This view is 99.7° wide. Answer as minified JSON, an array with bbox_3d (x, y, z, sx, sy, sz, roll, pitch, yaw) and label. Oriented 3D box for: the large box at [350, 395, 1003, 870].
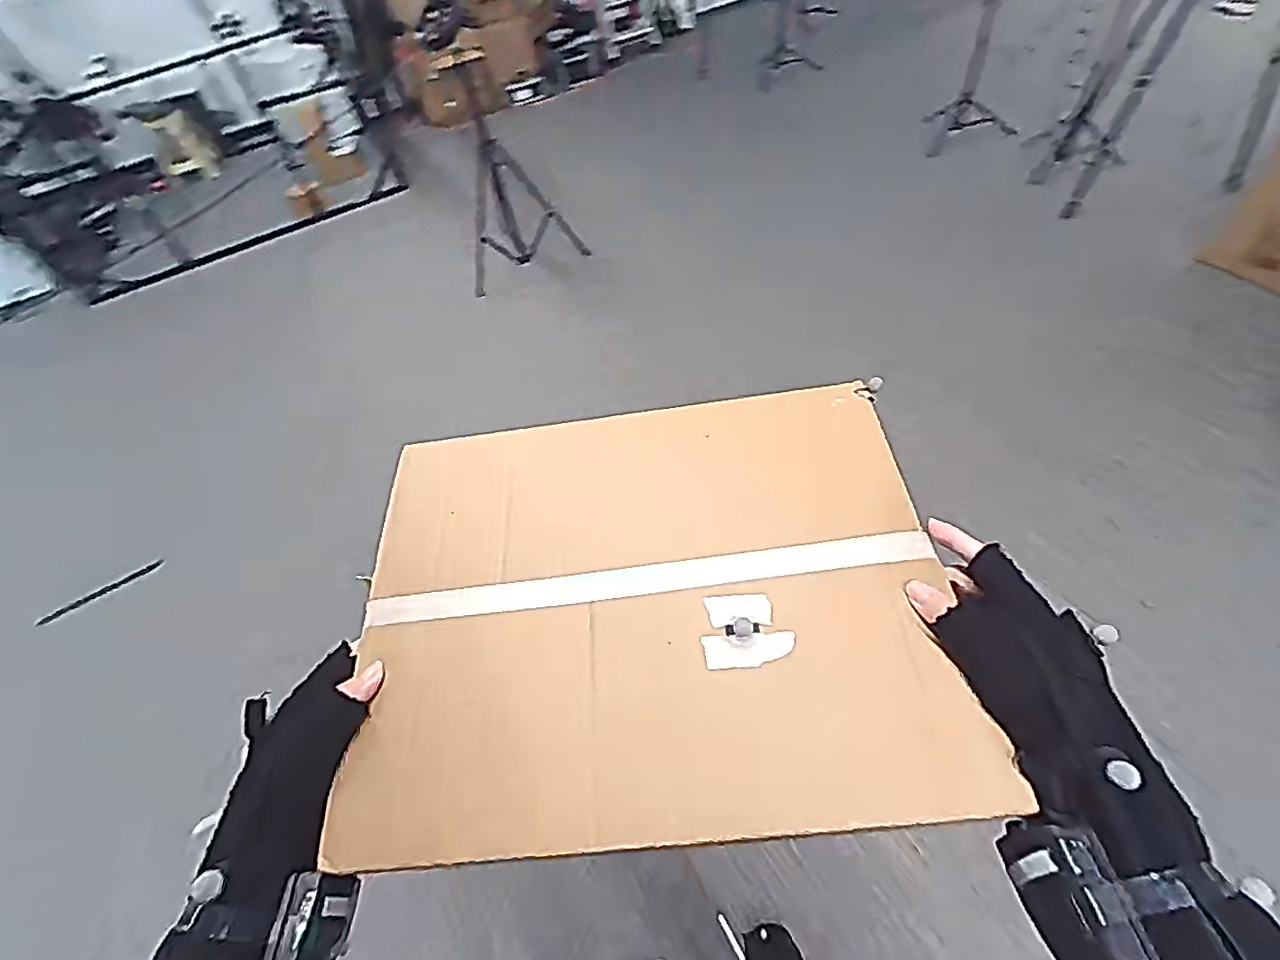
[{"bbox_3d":[0.019,0.161,0.525,0.408,0.320,0.320,-8,57,3],"label":"large box"}]
